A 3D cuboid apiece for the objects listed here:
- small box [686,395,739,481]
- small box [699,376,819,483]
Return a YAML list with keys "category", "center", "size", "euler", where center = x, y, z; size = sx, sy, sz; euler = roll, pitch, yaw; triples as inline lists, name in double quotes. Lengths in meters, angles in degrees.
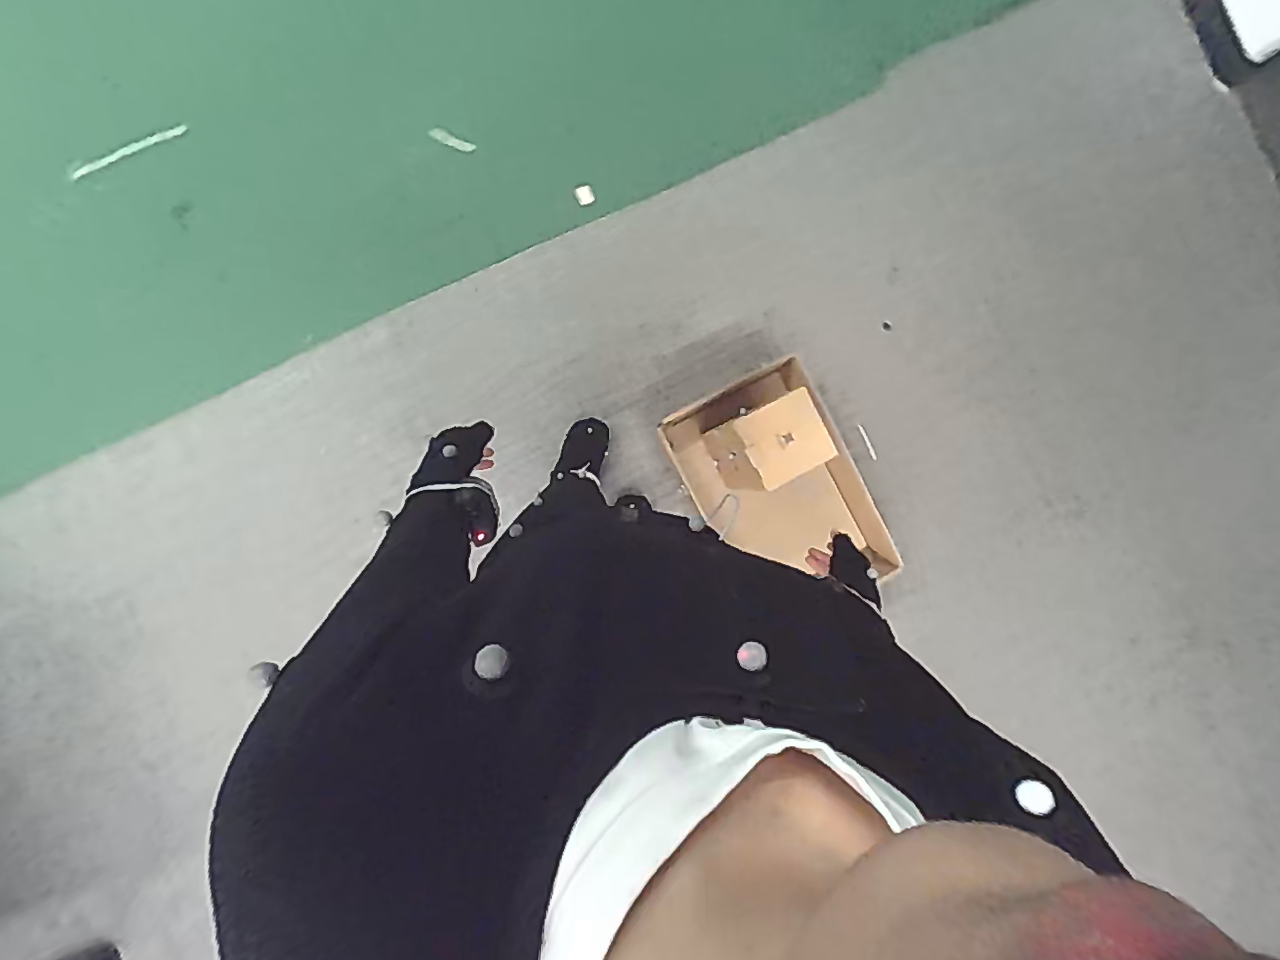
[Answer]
- category: "small box"
  center: [0.238, -0.111, 1.371]
  size: [0.179, 0.176, 0.168]
  euler: [-32, 94, -5]
- category: "small box"
  center: [0.257, -0.110, 1.209]
  size: [0.179, 0.176, 0.168]
  euler: [-33, 94, -4]
